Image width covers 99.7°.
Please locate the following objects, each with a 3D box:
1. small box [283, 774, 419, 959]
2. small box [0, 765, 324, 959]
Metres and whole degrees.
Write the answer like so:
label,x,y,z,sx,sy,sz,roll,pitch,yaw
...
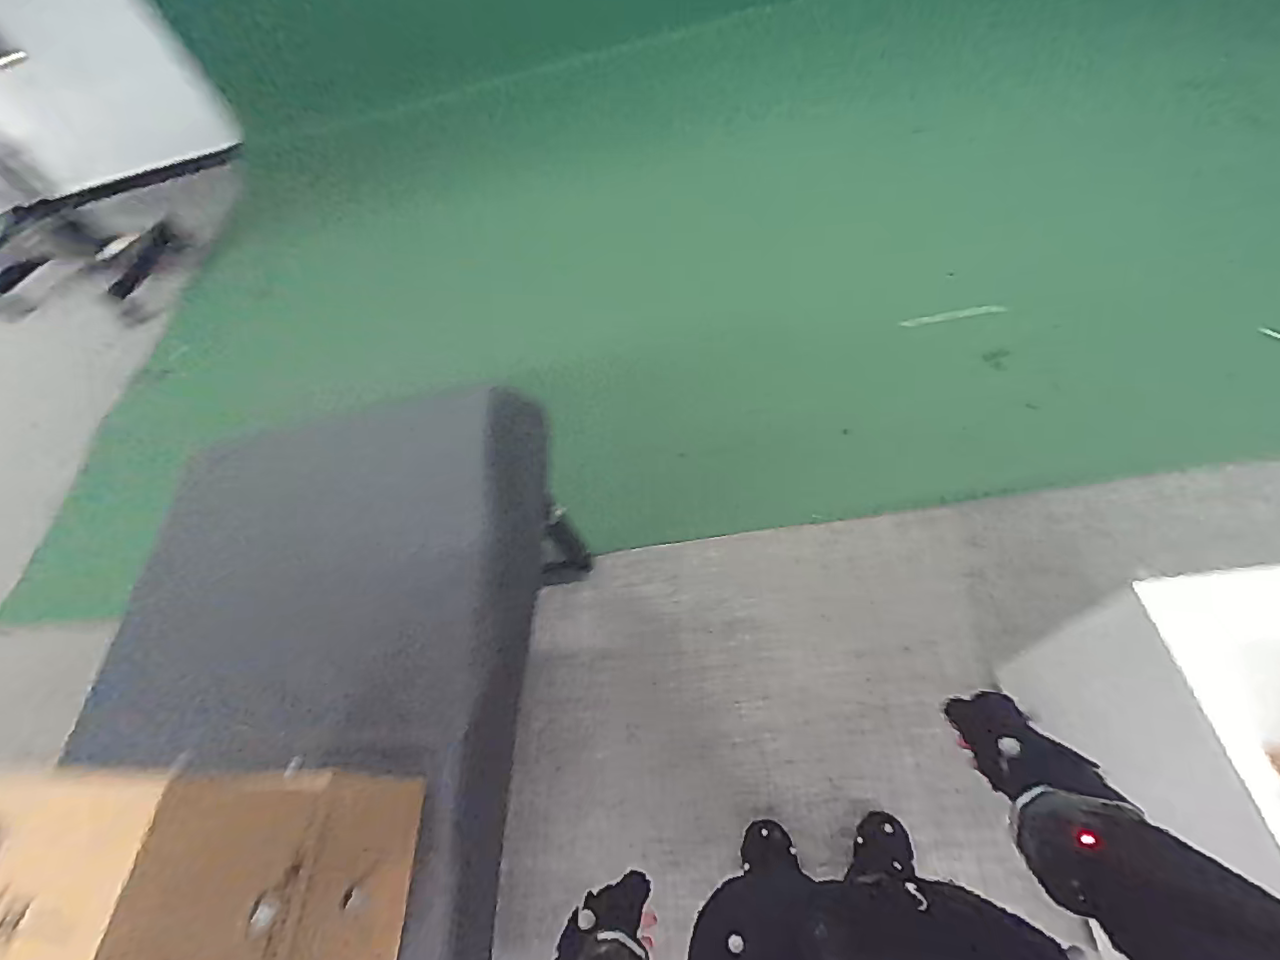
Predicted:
label,x,y,z,sx,sy,sz,roll,pitch,yaw
small box,-0.355,0.405,0.556,0.168,0.176,0.179,-8,59,11
small box,-0.396,0.322,0.419,0.179,0.176,0.168,-10,58,12
